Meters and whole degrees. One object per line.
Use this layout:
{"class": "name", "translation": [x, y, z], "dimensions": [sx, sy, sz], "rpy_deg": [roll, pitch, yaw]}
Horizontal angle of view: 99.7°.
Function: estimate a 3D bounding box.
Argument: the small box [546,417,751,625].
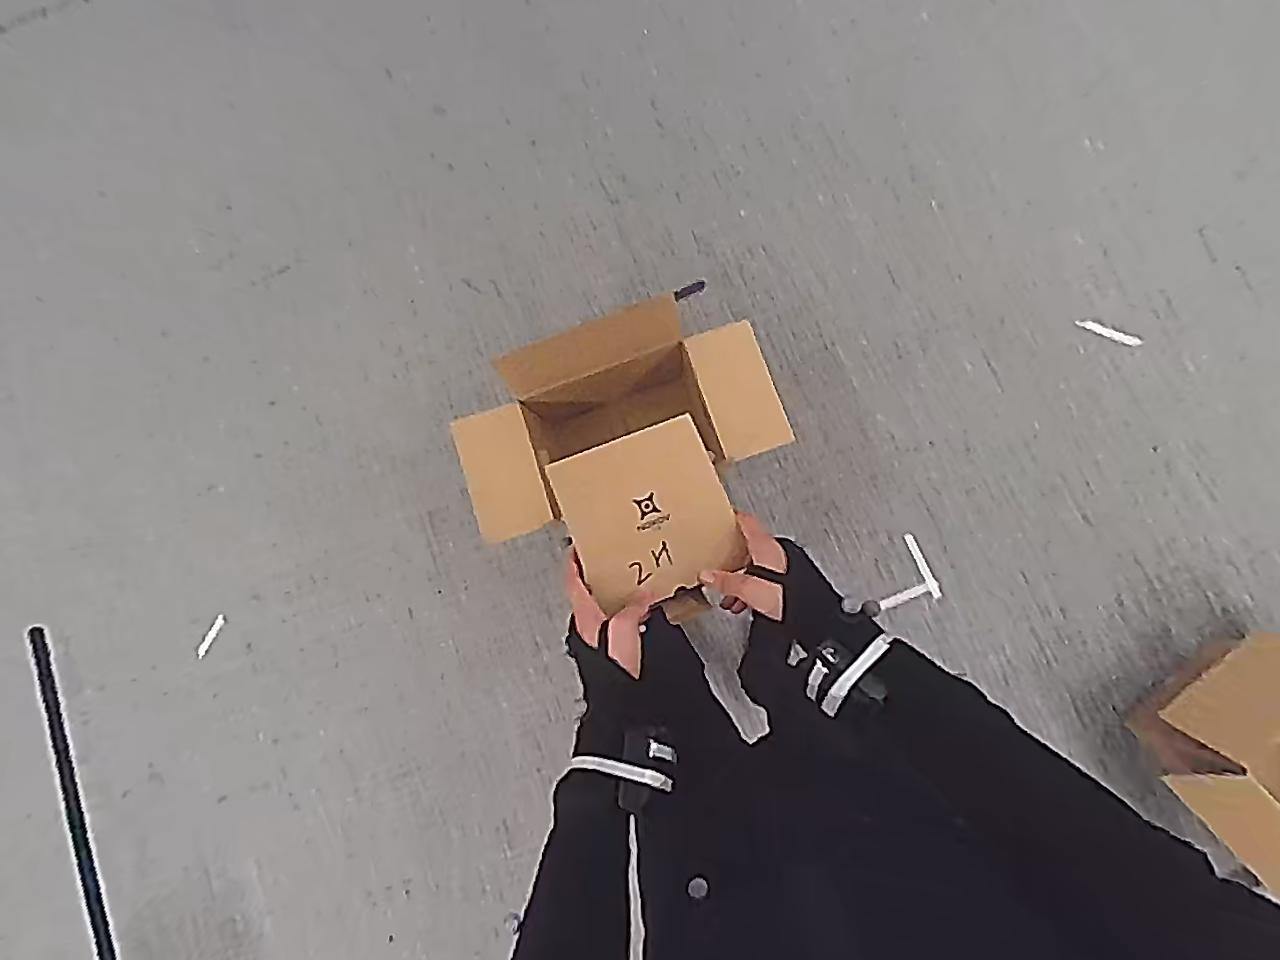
{"class": "small box", "translation": [0.002, 0.056, 0.628], "dimensions": [0.168, 0.176, 0.179], "rpy_deg": [-21, 79, -7]}
